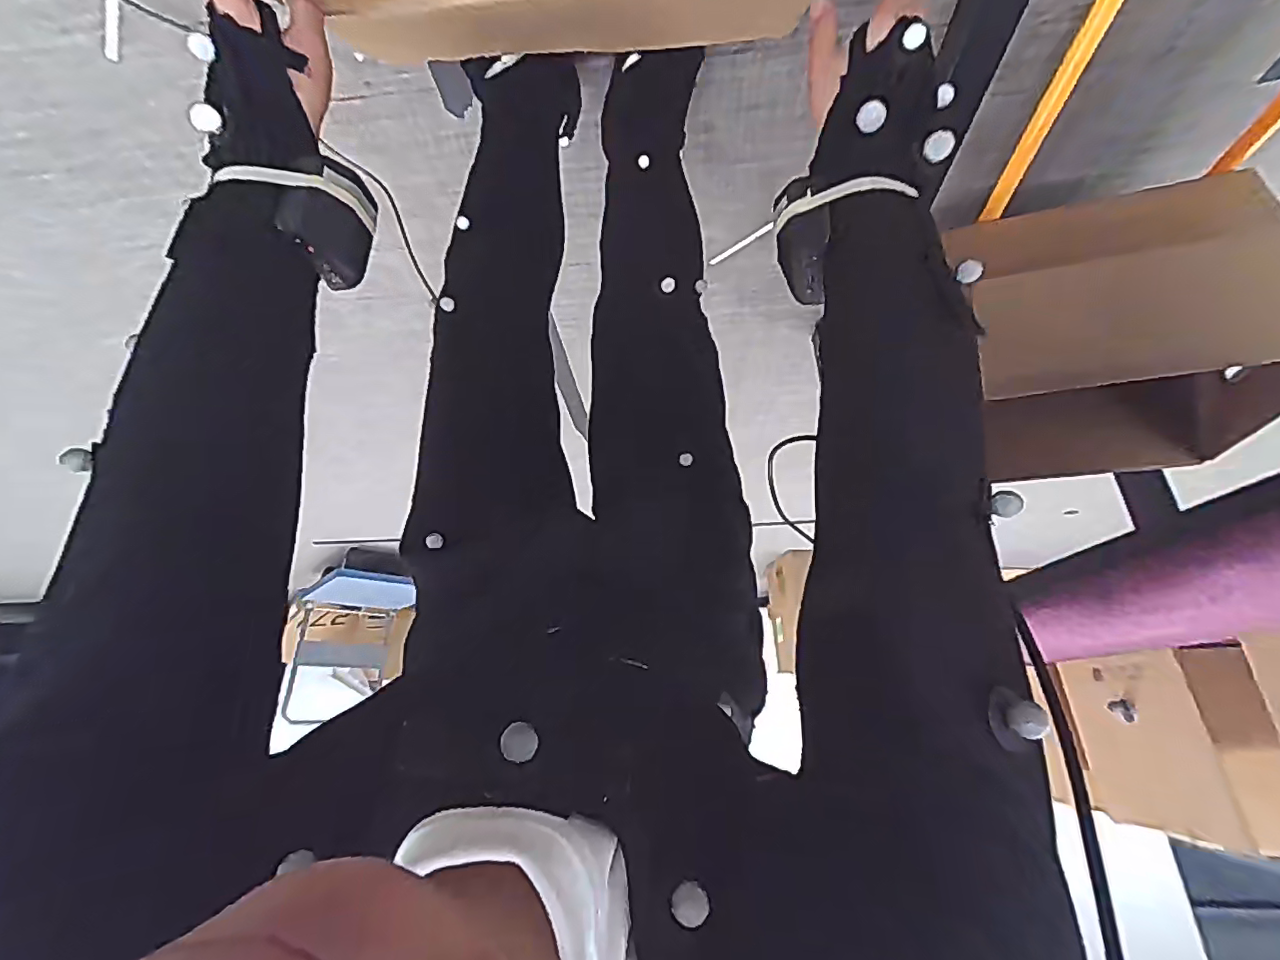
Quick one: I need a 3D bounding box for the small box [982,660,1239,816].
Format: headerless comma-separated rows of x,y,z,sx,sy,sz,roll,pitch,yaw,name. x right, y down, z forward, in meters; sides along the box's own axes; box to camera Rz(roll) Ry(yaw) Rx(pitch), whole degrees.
0.608,0.337,0.728,0.179,0.176,0.168,-2,157,2,small box
